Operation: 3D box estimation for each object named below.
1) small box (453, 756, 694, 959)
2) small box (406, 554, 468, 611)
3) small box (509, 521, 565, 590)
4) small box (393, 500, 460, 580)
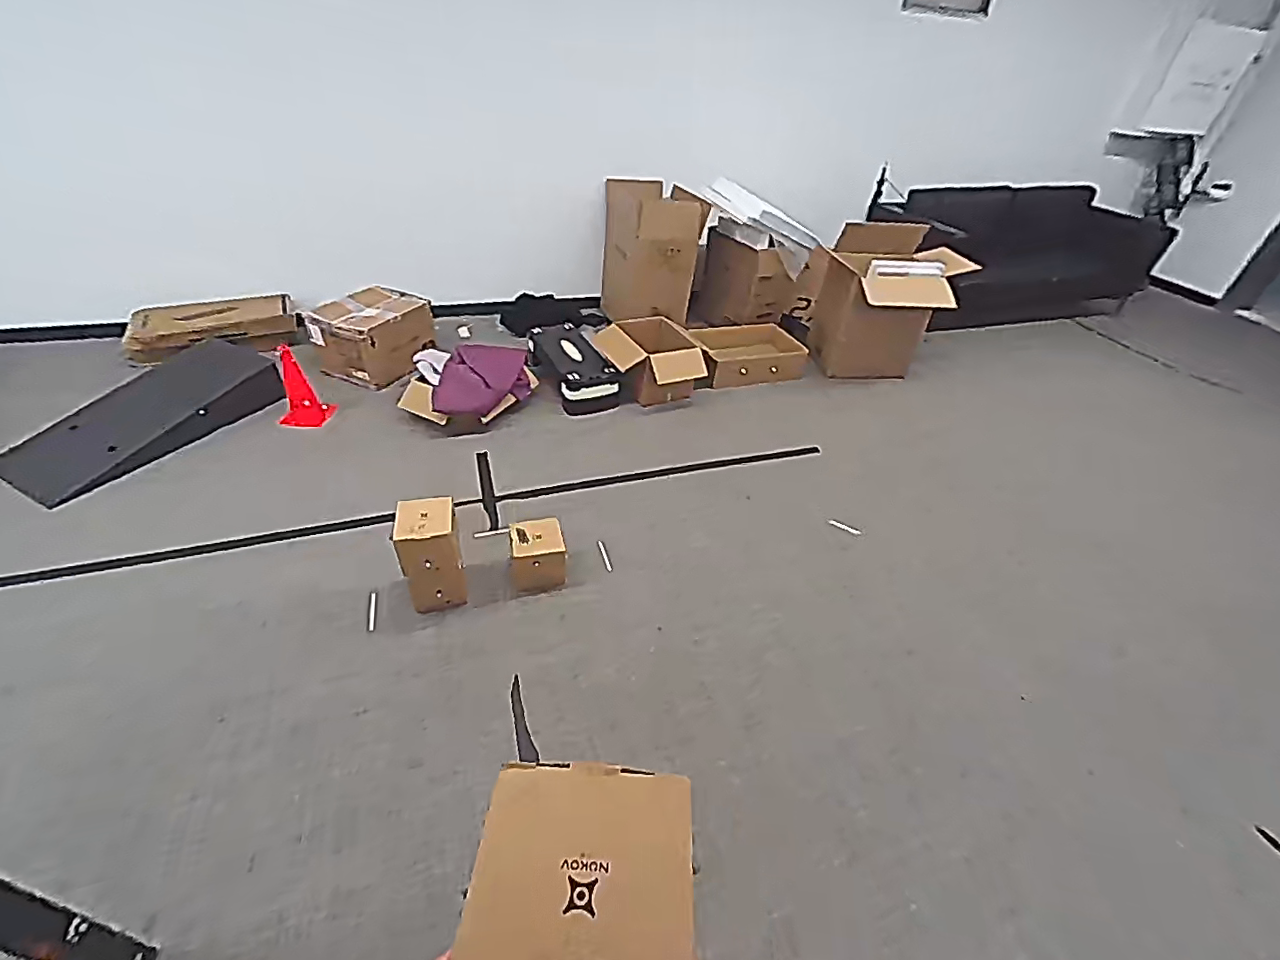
[{"bbox_3d":[-0.046,0.362,0.450,0.168,0.176,0.179,4,38,1],"label":"small box"},{"bbox_3d":[-0.677,0.318,1.804,0.168,0.176,0.179,-10,42,-17],"label":"small box"},{"bbox_3d":[-0.362,0.269,1.904,0.179,0.176,0.168,-6,41,-15],"label":"small box"},{"bbox_3d":[-0.665,0.188,1.702,0.168,0.176,0.179,-6,41,-13],"label":"small box"}]
